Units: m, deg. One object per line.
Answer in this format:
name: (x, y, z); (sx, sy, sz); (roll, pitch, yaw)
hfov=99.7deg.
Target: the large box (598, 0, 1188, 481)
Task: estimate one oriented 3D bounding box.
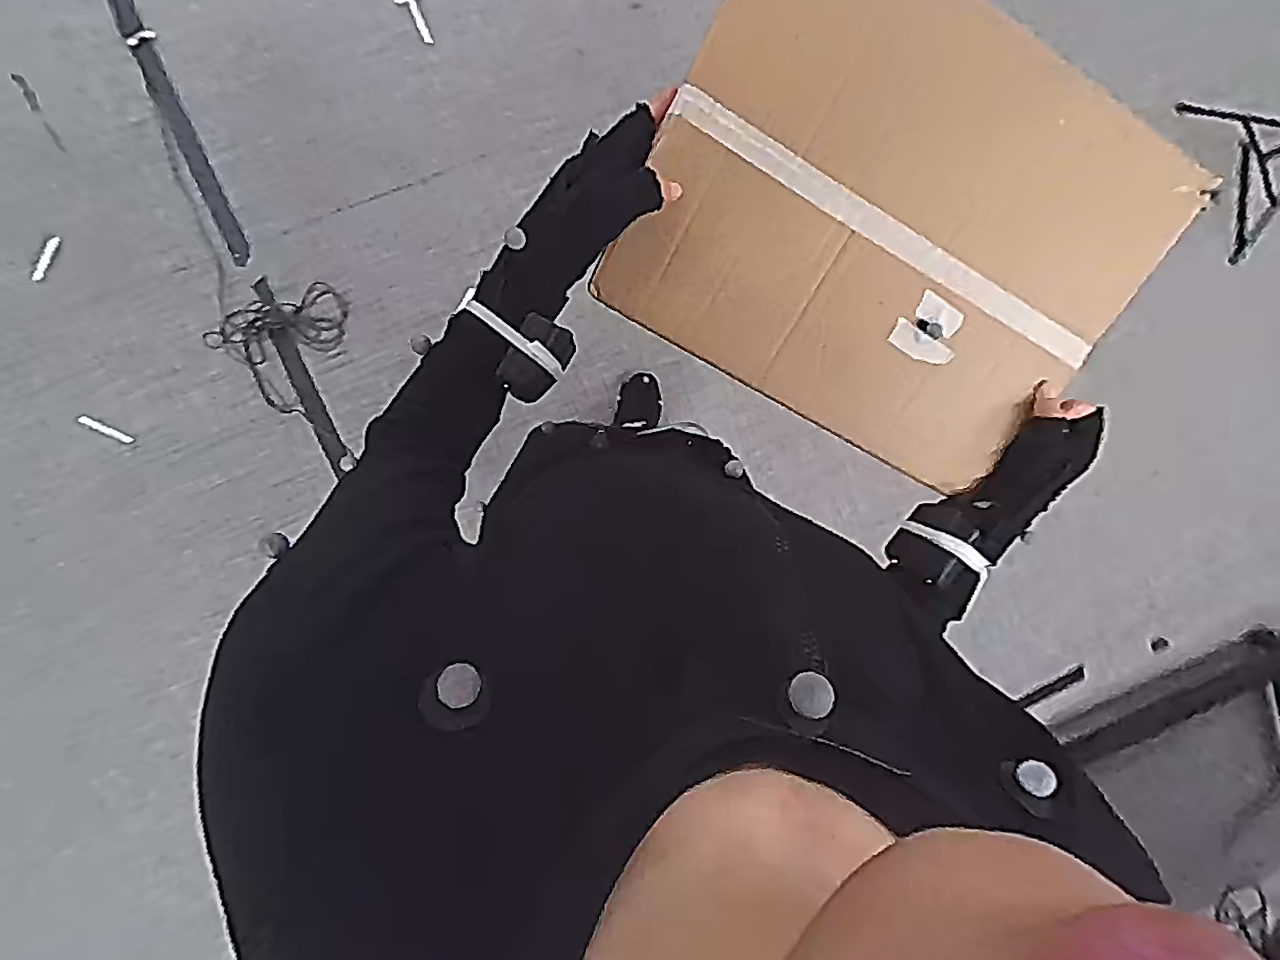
large box: (0.200, -0.258, 0.589); (0.408, 0.320, 0.320); (27, 108, -11)
